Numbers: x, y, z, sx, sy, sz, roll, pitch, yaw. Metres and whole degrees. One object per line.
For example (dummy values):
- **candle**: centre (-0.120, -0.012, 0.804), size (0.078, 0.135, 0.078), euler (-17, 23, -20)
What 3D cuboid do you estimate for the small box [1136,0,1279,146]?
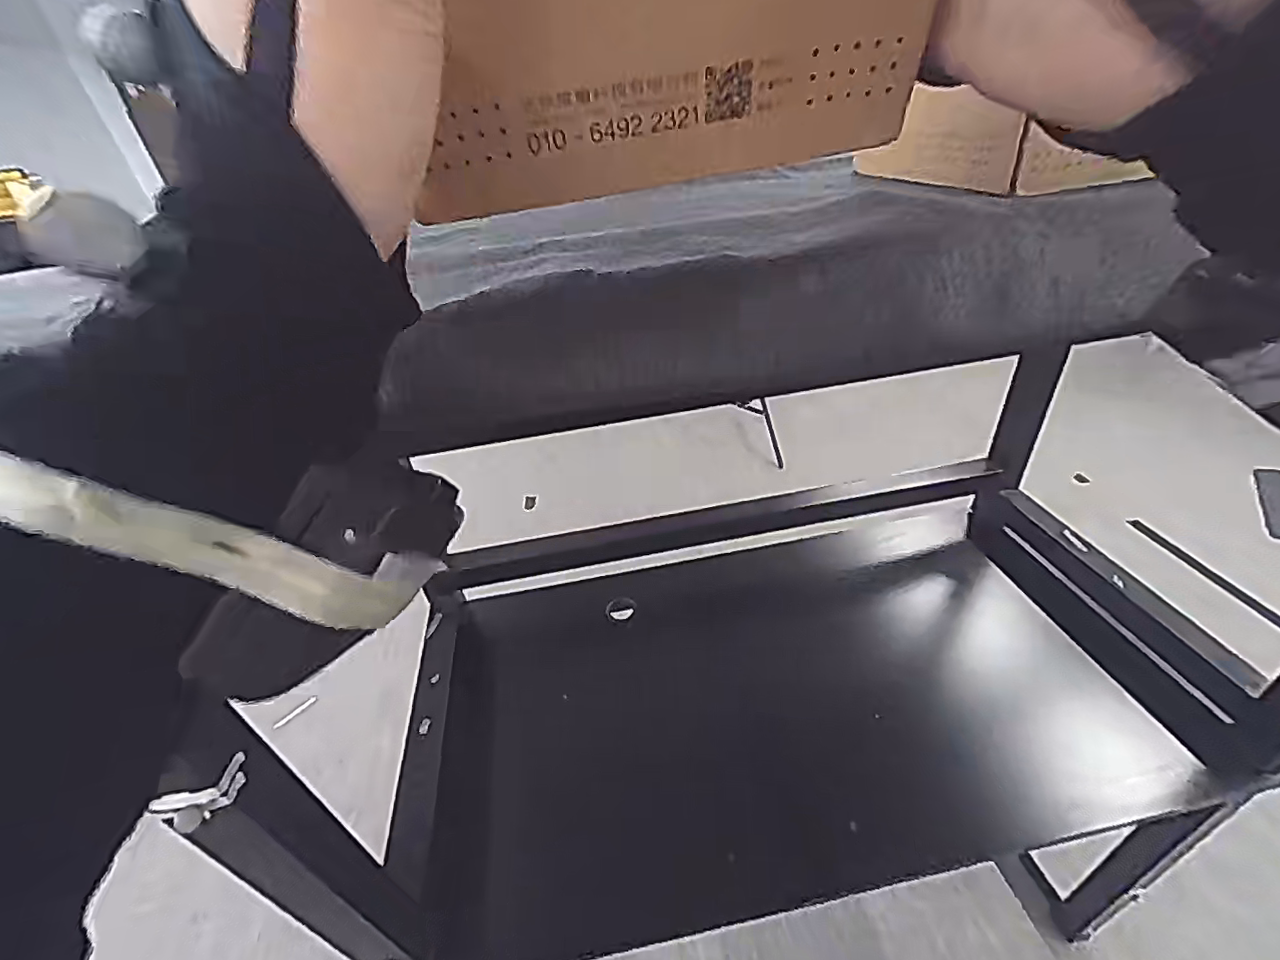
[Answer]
- **small box**: centre (0.469, -0.305, 0.323), size (0.168, 0.176, 0.179), euler (-10, 35, -3)

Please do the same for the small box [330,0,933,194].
- **small box**: centre (-0.013, -0.205, 0.158), size (0.168, 0.176, 0.179), euler (-12, 54, -3)
